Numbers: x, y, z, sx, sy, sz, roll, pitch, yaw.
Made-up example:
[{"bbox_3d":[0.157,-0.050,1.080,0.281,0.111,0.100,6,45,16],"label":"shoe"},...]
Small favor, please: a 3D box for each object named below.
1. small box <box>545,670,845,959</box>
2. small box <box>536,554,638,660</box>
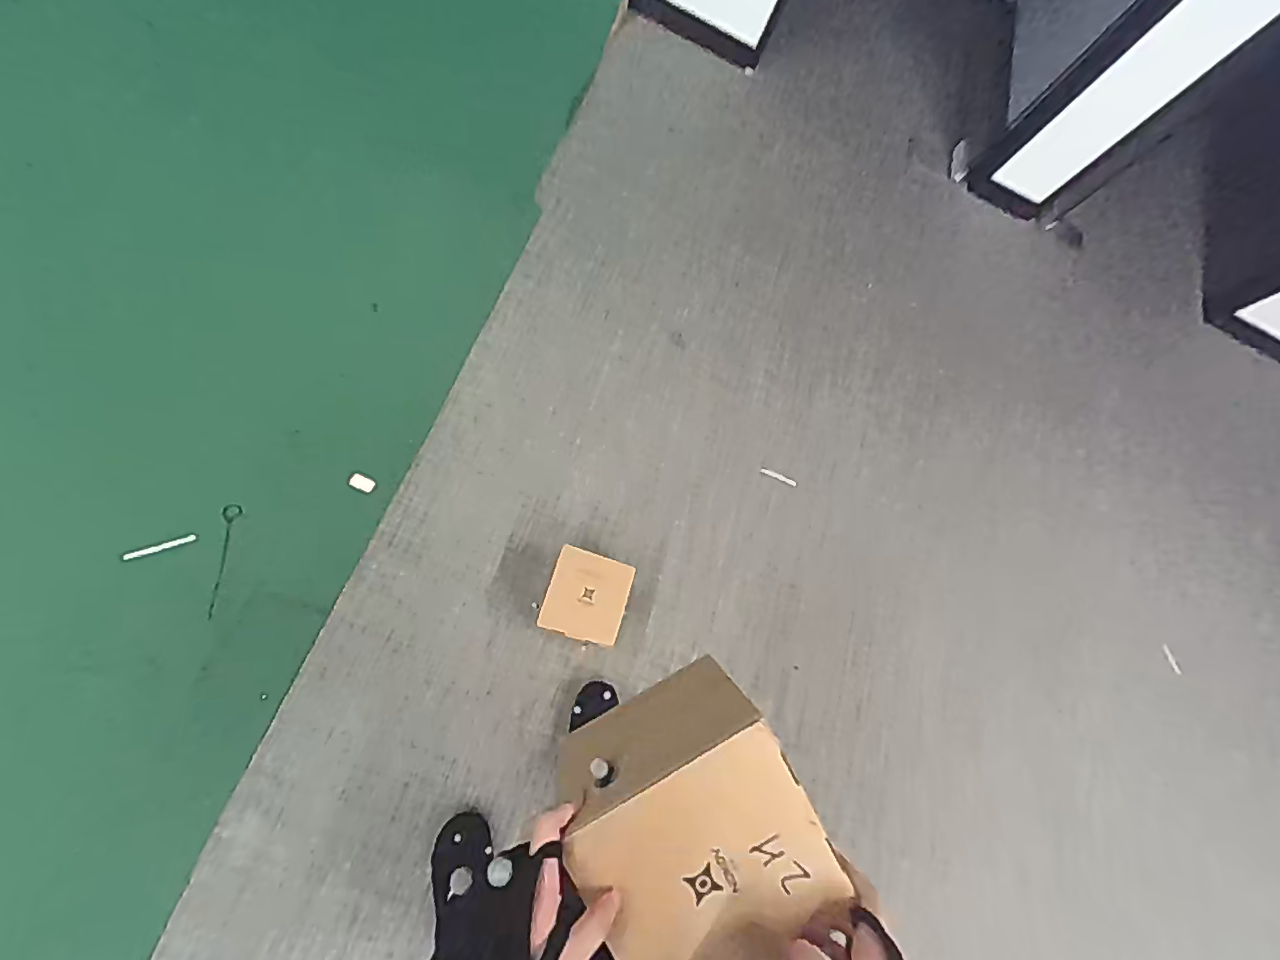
[{"bbox_3d":[0.035,0.299,0.477,0.179,0.176,0.168,-28,91,-7],"label":"small box"},{"bbox_3d":[-0.122,0.282,1.182,0.168,0.176,0.179,21,68,-9],"label":"small box"}]
